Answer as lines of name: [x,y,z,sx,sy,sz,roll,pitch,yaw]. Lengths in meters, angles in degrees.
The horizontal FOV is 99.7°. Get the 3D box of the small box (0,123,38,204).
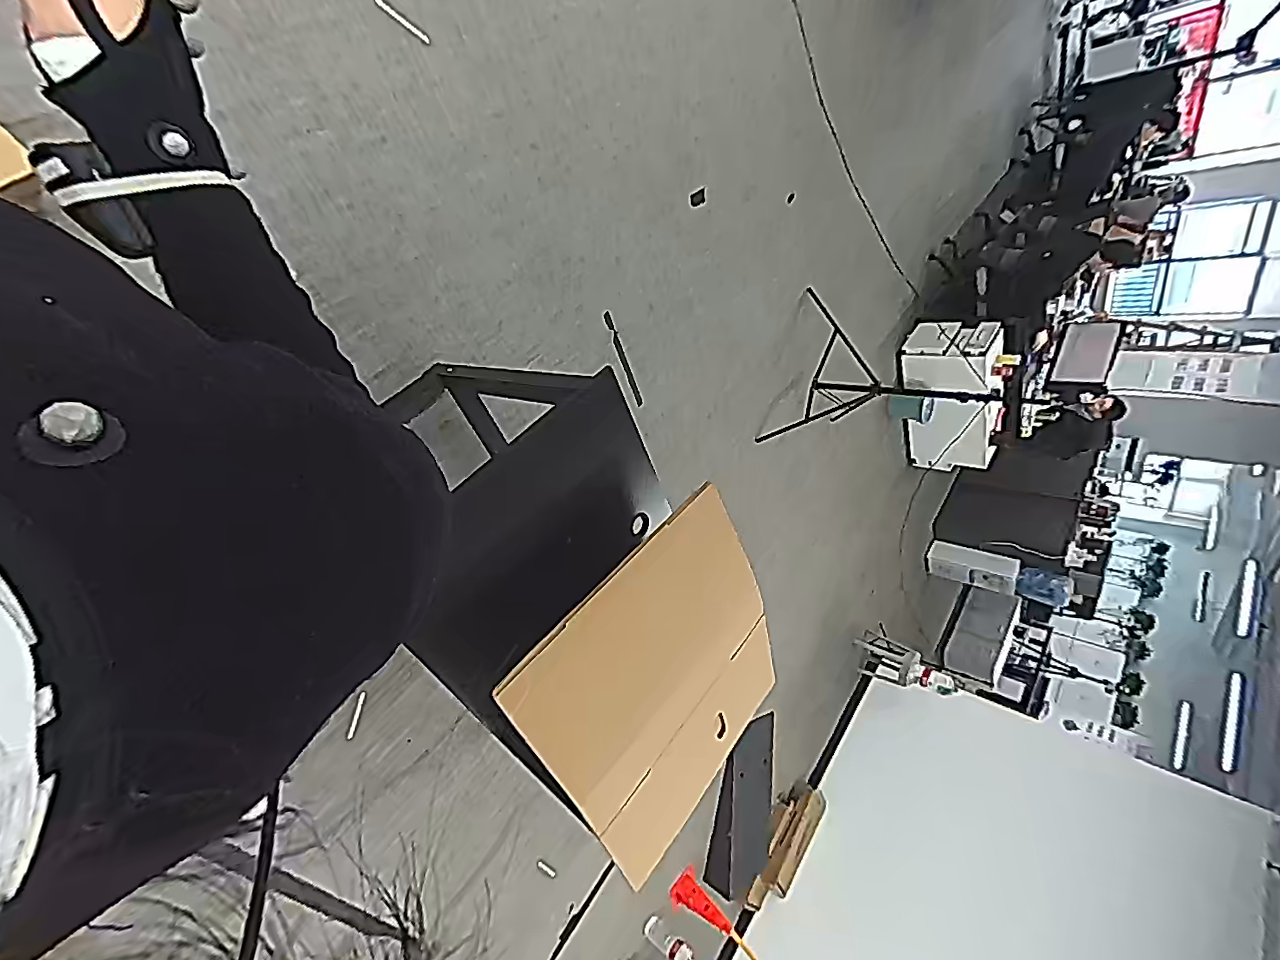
small box: [-0.994,-0.459,0.740,0.179,0.176,0.168,-54,135,-24]

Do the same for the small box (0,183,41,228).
small box: [-1.113,-0.482,0.846,0.179,0.176,0.168,-49,131,-25]
